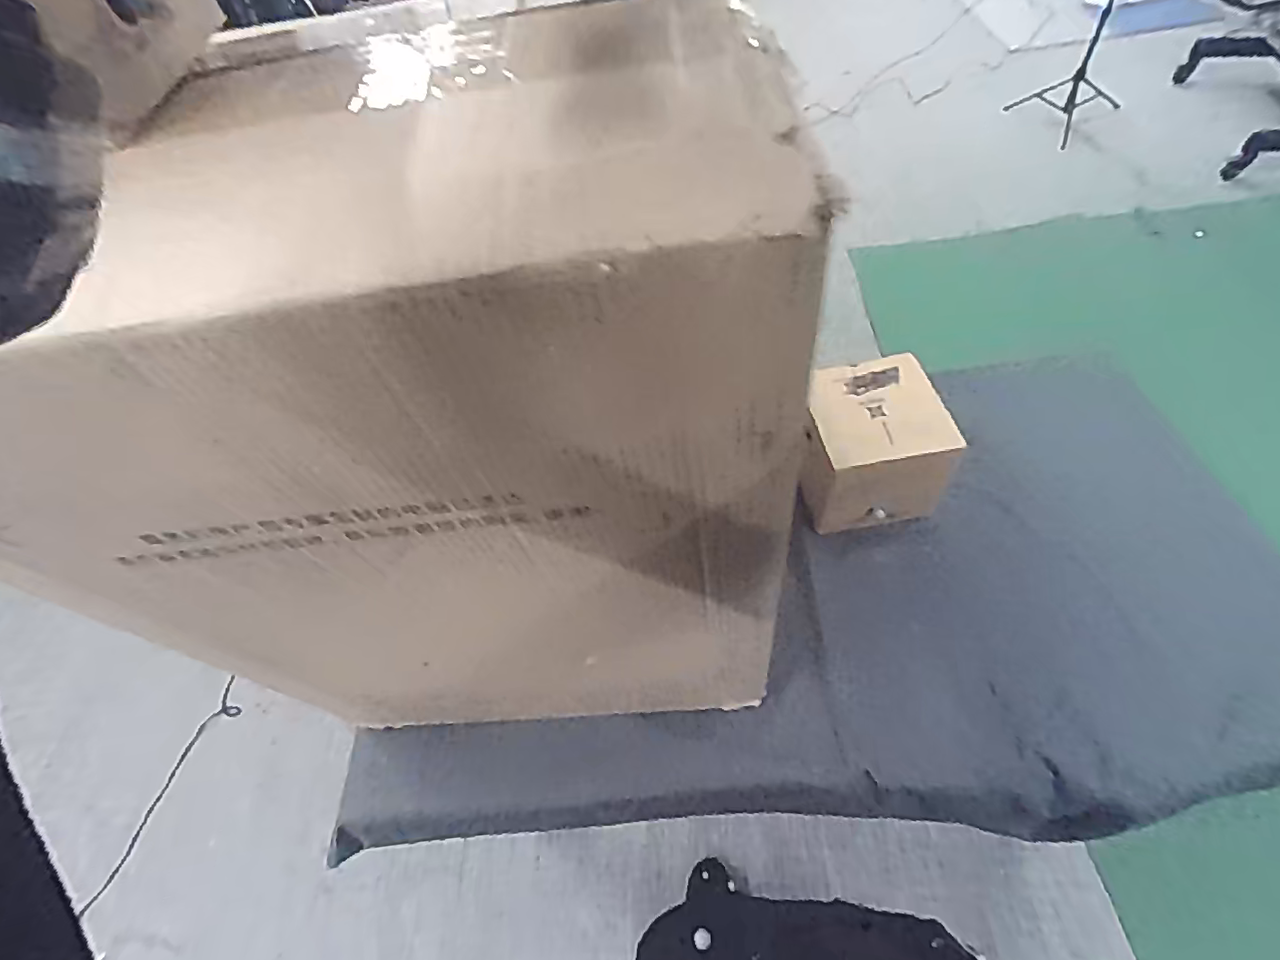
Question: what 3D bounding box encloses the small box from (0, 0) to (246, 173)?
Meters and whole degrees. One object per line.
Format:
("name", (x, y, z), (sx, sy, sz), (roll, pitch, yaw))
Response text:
("small box", (-0.342, -0.261, 0.249), (0.179, 0.176, 0.168), (-9, 59, 3))
